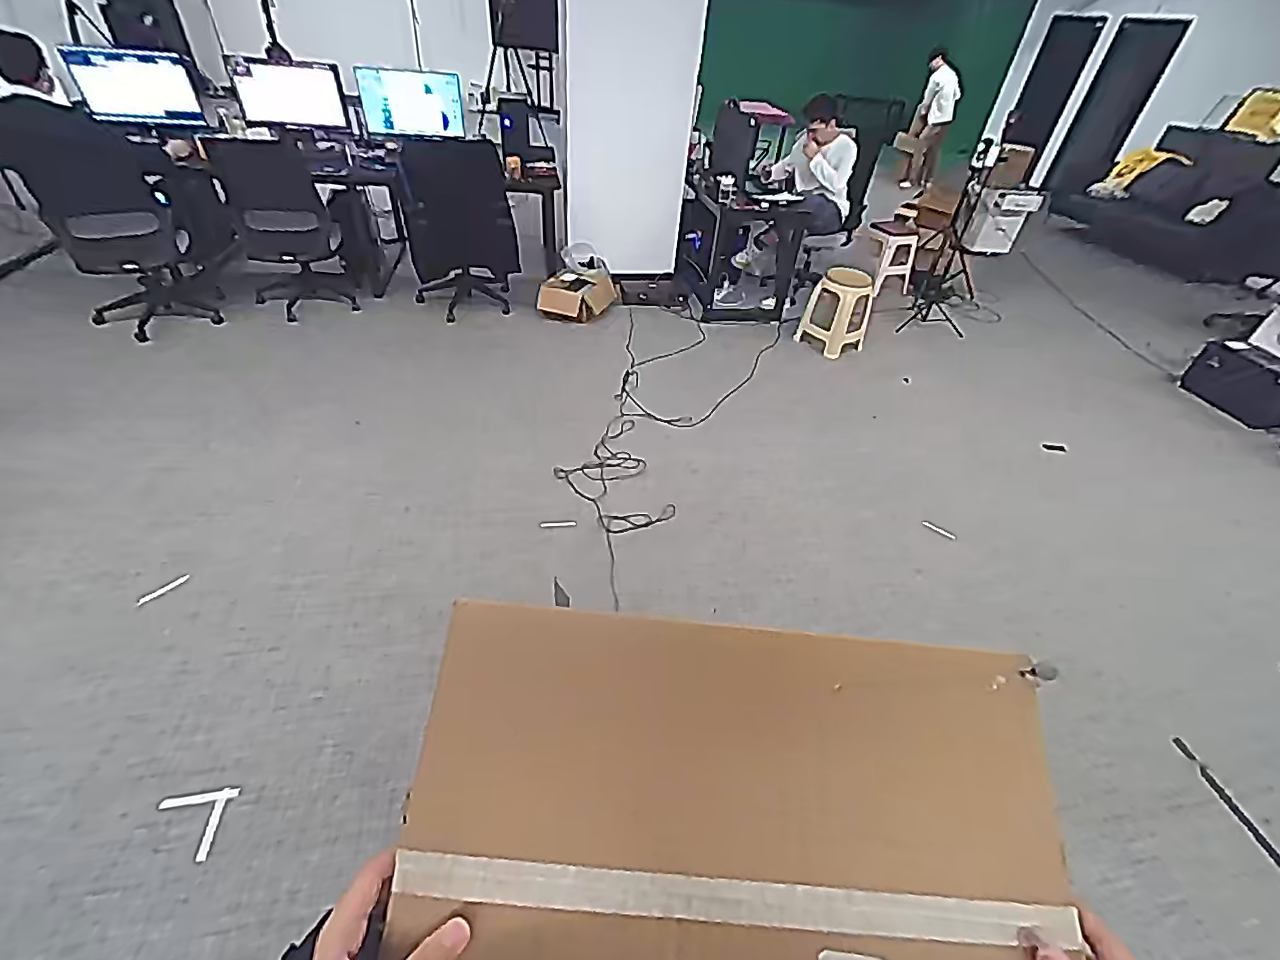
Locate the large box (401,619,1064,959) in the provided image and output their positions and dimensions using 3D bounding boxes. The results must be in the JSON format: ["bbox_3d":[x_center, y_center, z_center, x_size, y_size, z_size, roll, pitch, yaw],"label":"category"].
[{"bbox_3d":[0.051,0.311,0.469,0.408,0.320,0.320,5,69,-2],"label":"large box"}]
